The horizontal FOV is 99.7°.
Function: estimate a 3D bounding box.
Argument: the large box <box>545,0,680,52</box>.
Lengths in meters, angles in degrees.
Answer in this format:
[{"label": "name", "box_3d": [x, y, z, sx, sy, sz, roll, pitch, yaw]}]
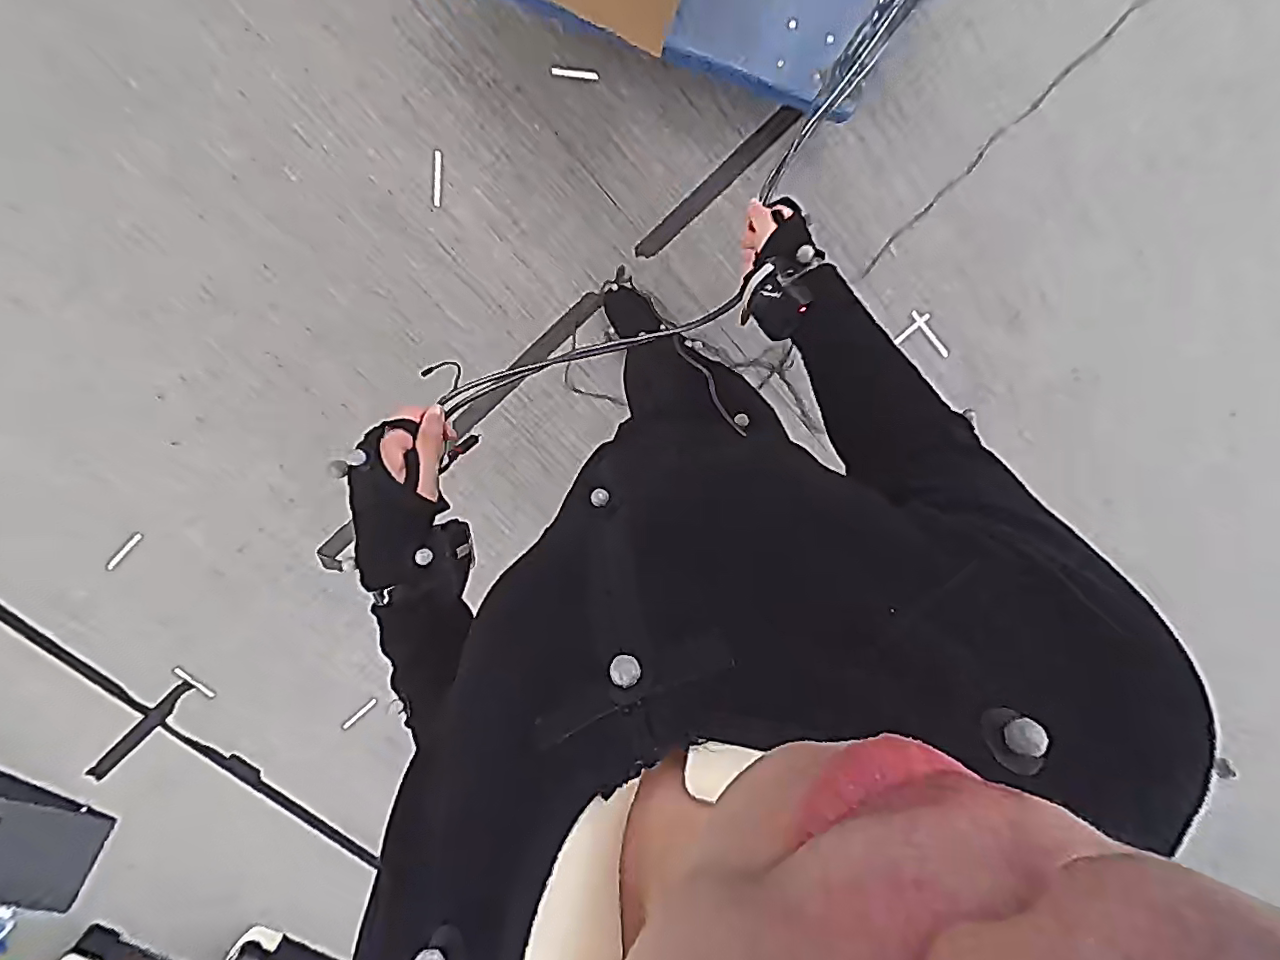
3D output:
[{"label": "large box", "box_3d": [-0.084, -0.997, 0.863, 0.408, 0.320, 0.320, 21, 104, -7]}]
